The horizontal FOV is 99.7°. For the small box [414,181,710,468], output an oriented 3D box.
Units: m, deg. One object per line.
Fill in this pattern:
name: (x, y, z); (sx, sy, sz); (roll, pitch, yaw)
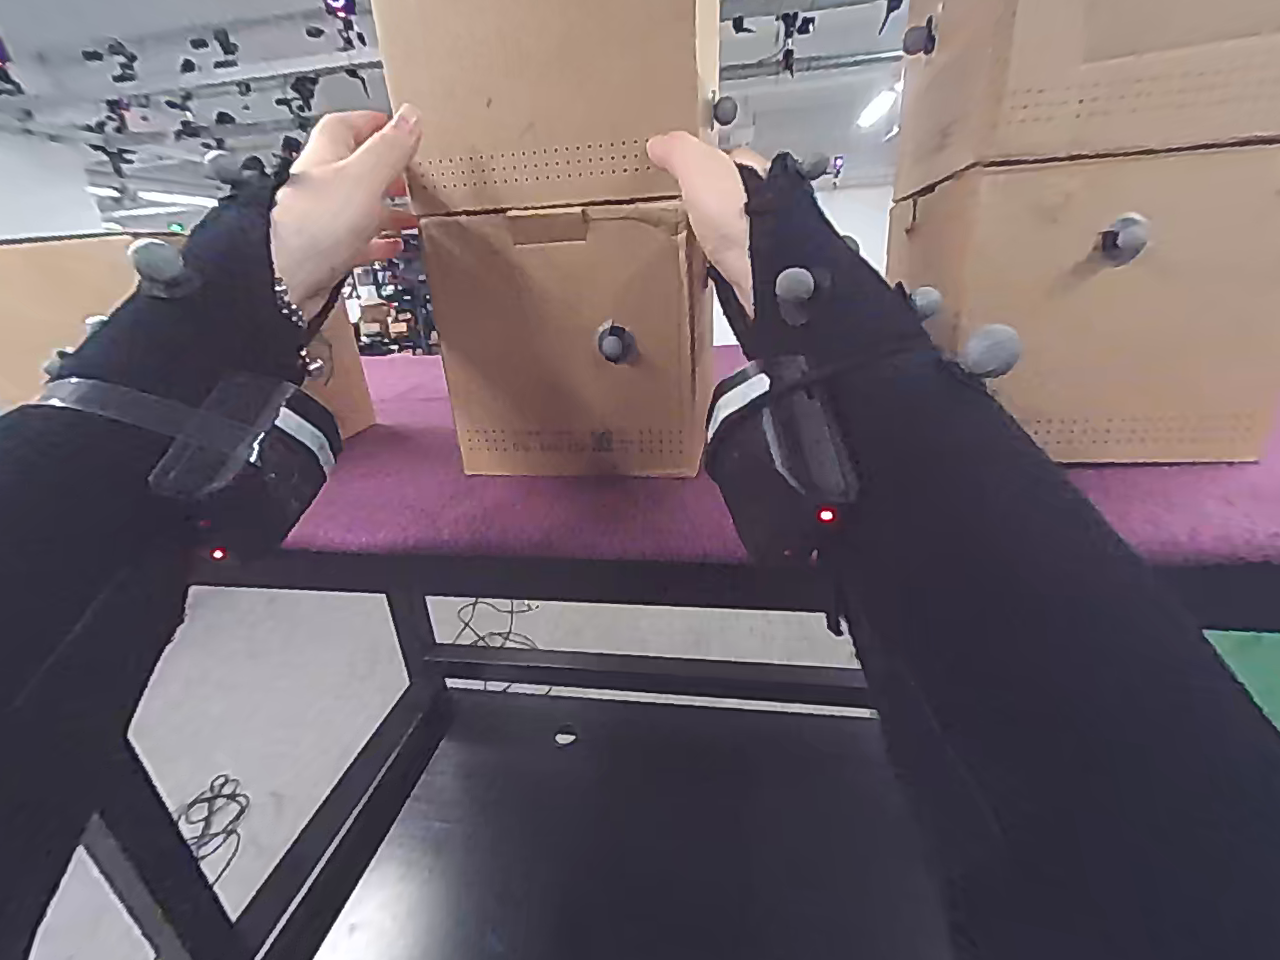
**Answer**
small box: (-0.034, -0.113, 0.407); (0.168, 0.176, 0.179); (2, 22, 10)

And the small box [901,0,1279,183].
small box: (0.265, -0.275, 0.313); (0.179, 0.176, 0.168); (0, 20, 9)

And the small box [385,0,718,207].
small box: (-0.043, -0.266, 0.345); (0.179, 0.176, 0.168); (2, 24, 11)
